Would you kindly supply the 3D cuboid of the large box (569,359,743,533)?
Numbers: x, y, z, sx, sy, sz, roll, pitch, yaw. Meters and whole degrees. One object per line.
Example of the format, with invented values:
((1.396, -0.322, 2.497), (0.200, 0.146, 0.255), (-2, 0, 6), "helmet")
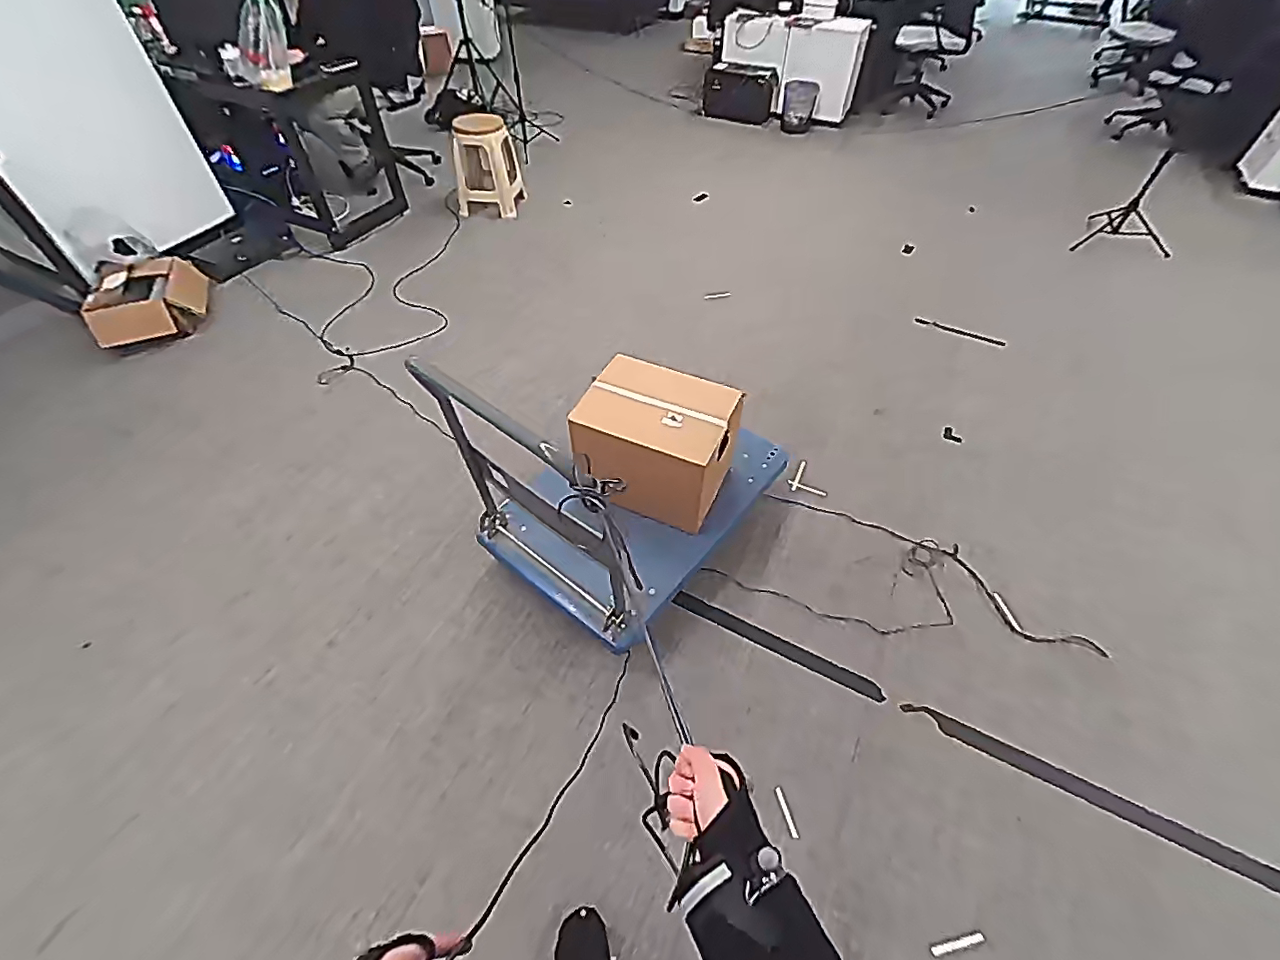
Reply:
((0.044, -0.102, 1.599), (0.408, 0.320, 0.320), (20, 54, 15), "large box")
